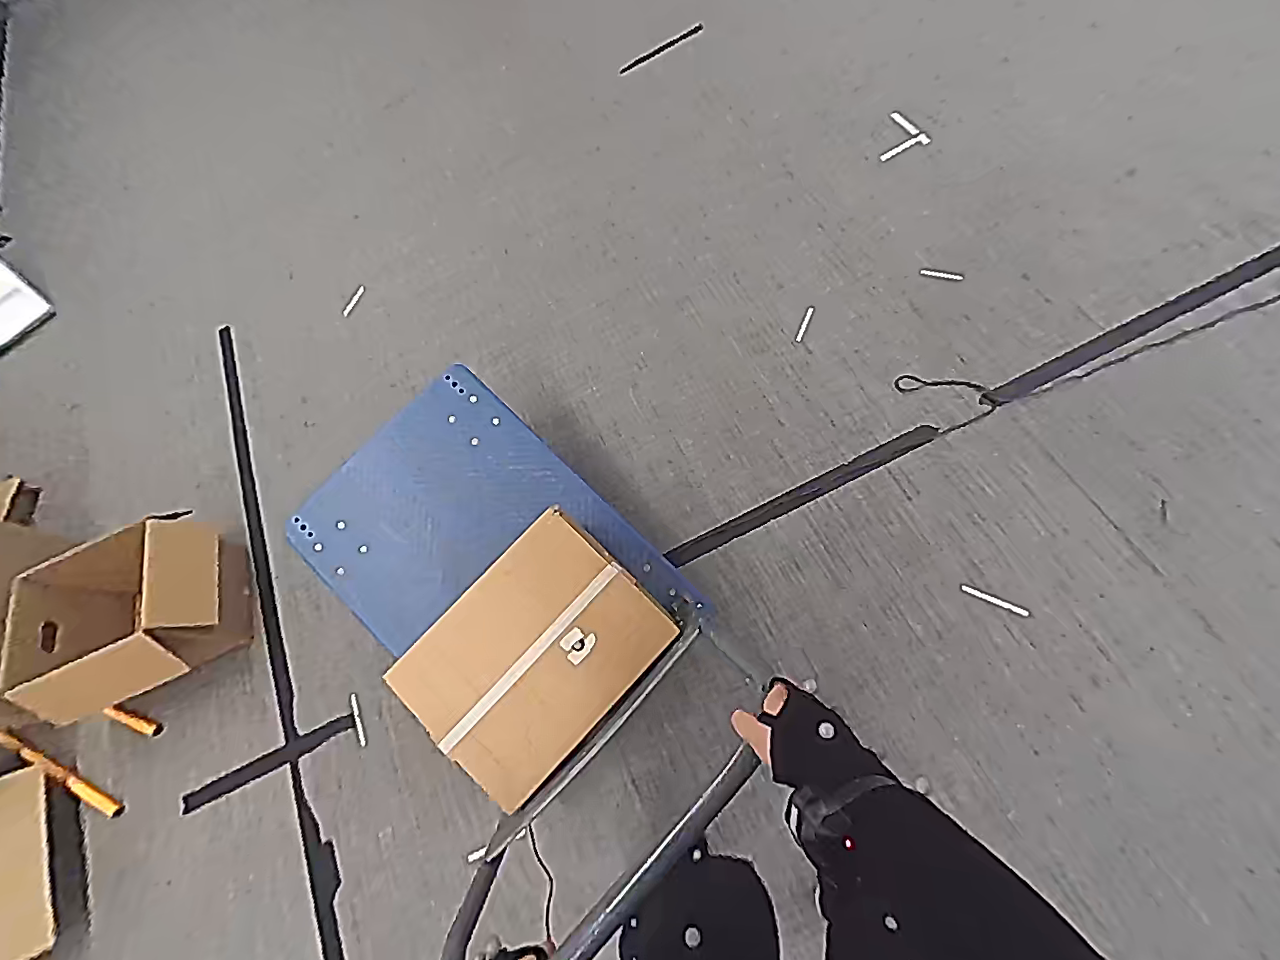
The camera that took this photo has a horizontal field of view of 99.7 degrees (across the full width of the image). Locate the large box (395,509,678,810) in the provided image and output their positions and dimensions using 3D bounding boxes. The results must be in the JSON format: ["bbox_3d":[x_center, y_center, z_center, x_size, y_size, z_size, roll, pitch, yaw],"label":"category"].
[{"bbox_3d":[-0.175,0.322,1.064,0.320,0.320,0.408,42,82,7],"label":"large box"}]
